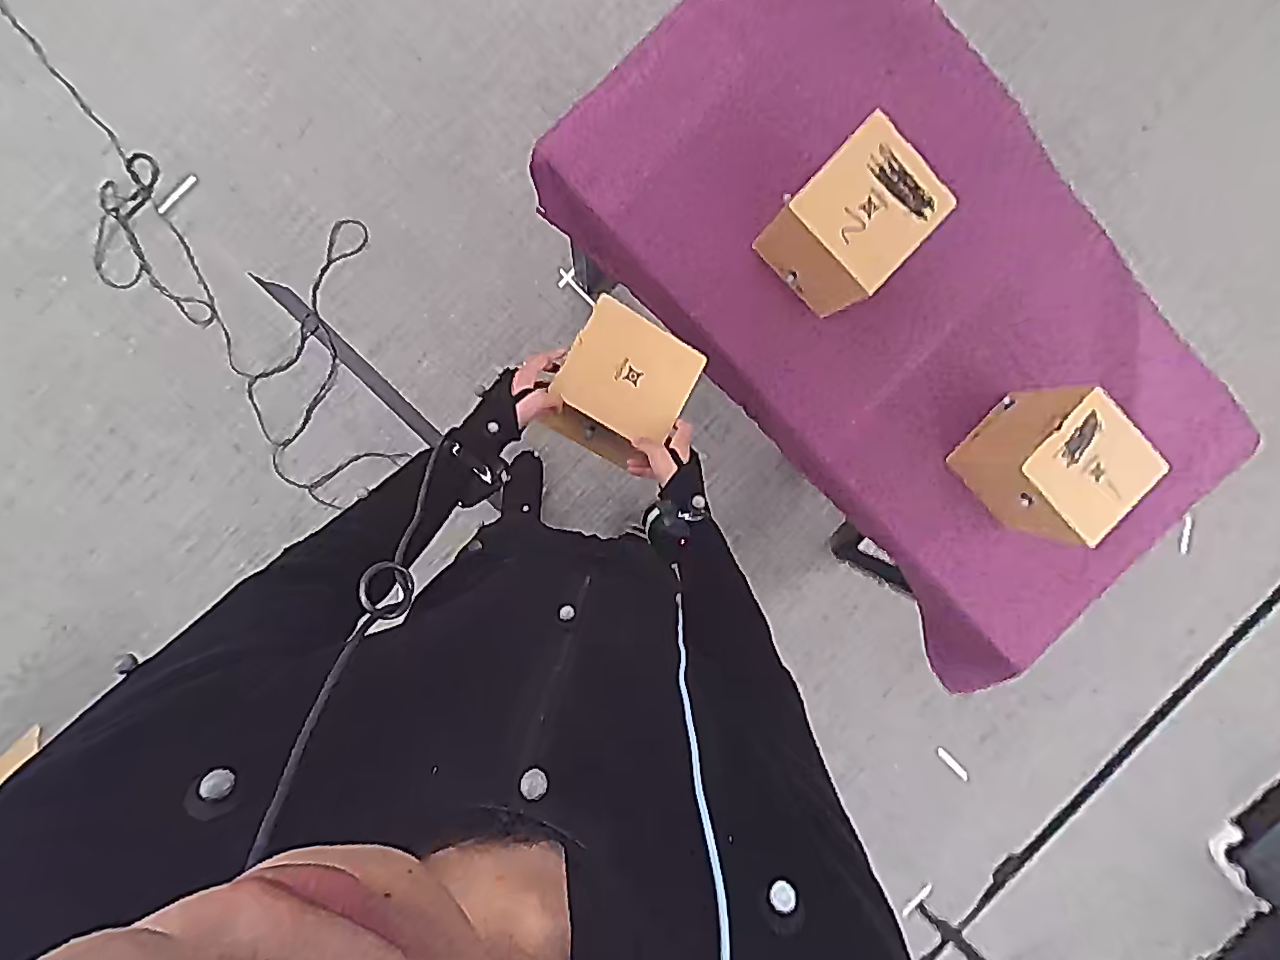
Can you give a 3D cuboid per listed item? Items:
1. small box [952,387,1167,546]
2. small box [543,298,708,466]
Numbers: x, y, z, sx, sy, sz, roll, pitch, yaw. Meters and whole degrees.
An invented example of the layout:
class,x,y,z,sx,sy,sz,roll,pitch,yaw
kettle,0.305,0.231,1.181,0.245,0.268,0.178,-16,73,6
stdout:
class,x,y,z,sx,sy,sz,roll,pitch,yaw
small box,0.649,-0.023,0.861,0.179,0.176,0.168,44,90,-8
small box,-0.031,-0.133,0.816,0.179,0.176,0.168,29,77,-9
